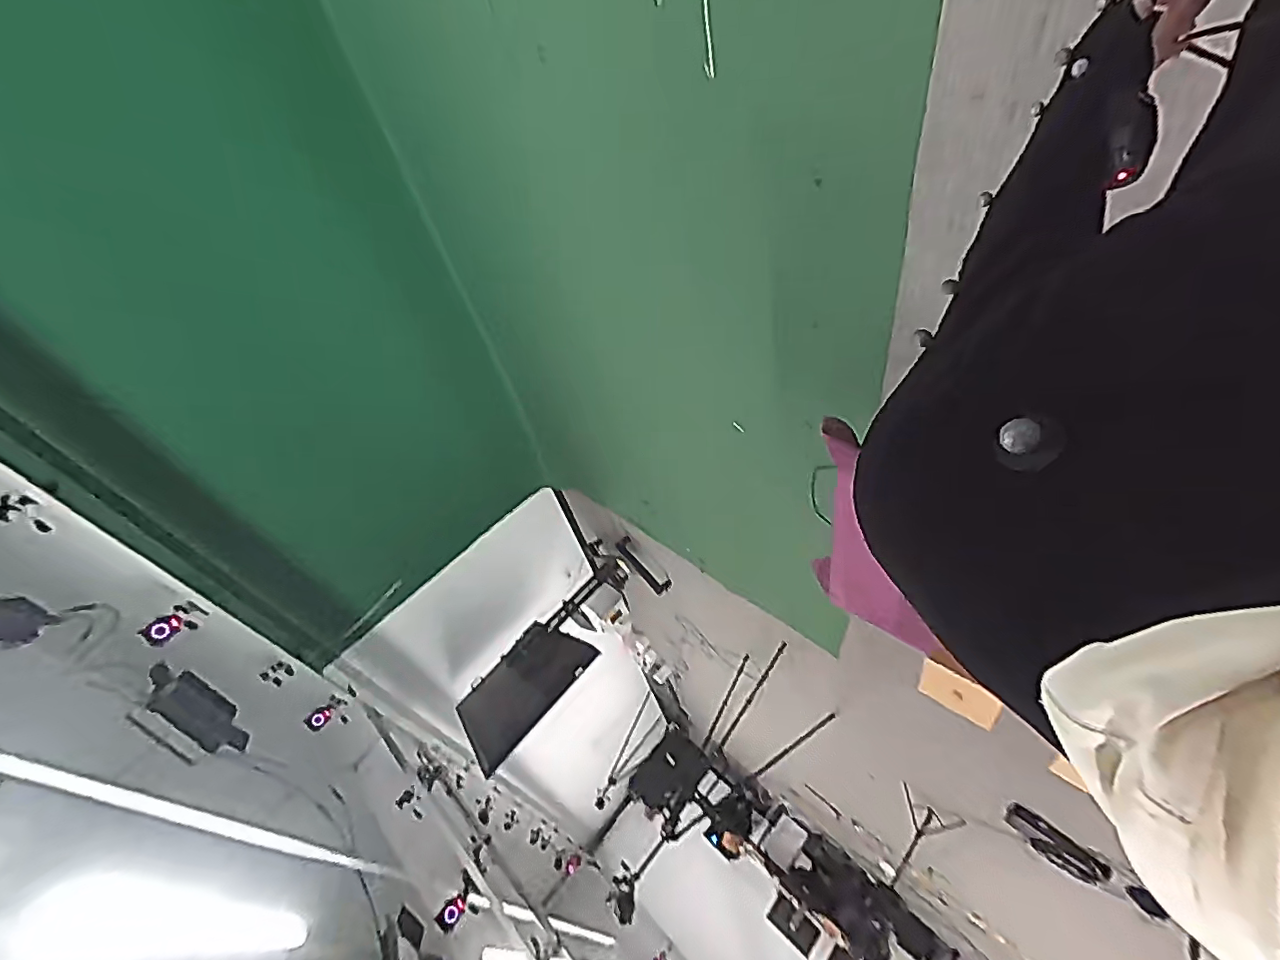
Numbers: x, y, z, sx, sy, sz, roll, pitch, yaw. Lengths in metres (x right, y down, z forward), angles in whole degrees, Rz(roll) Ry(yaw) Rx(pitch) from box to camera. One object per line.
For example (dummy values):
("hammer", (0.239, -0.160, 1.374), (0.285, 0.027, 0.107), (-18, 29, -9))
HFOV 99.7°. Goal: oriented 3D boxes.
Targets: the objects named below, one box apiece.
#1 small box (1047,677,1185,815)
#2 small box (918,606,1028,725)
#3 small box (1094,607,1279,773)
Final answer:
("small box", (0.998, 0.549, 1.128), (0.168, 0.176, 0.179), (27, 150, 37))
("small box", (0.795, 0.439, 1.296), (0.168, 0.176, 0.179), (26, 148, 37))
("small box", (0.934, 0.355, 0.929), (0.168, 0.176, 0.179), (27, 150, 37))
